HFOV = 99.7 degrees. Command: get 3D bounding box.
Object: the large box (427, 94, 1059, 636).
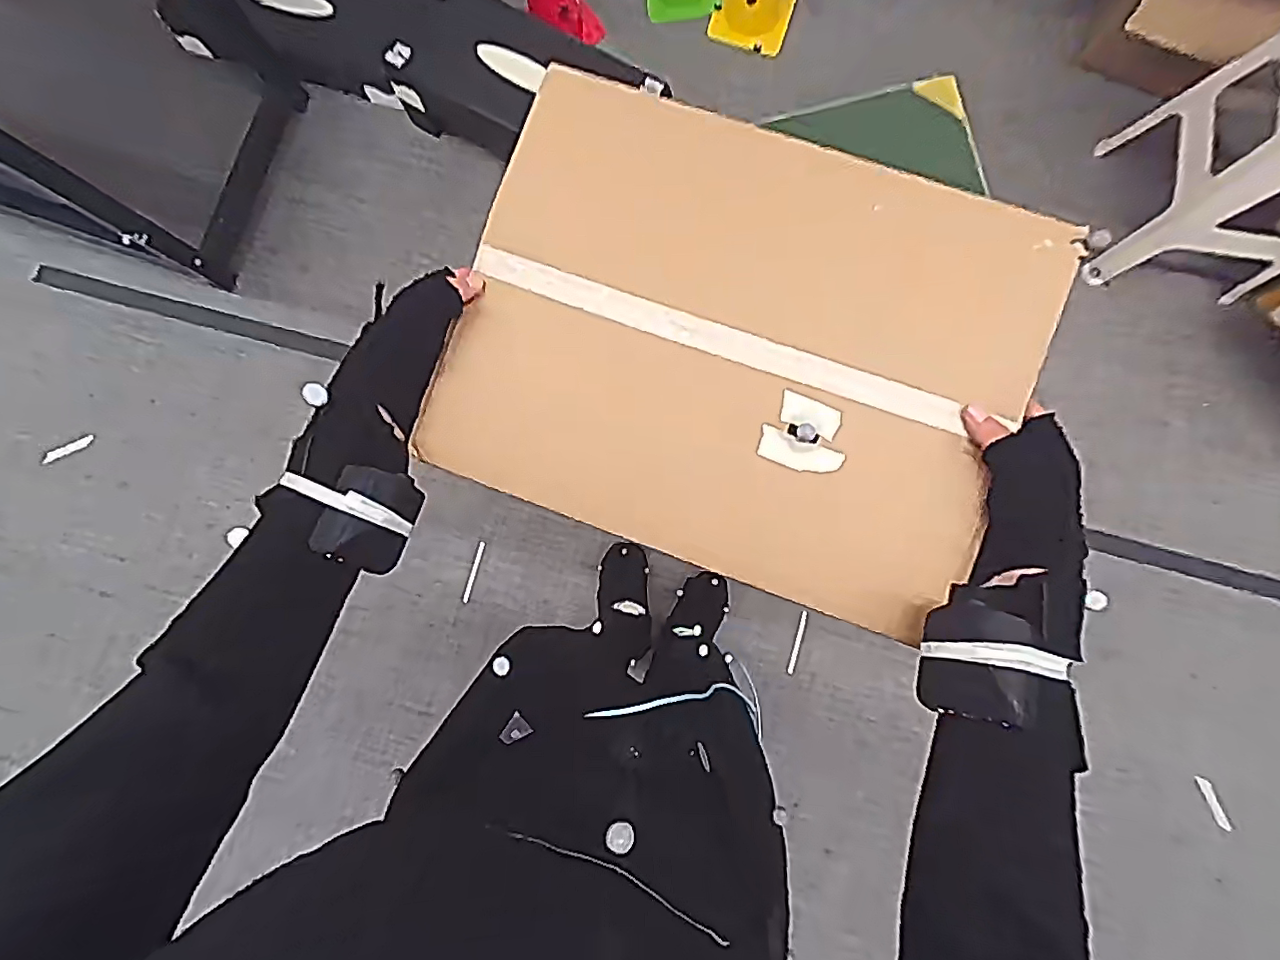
[{"bbox_3d":[0.077,-0.087,0.551,0.408,0.320,0.320,20,90,3],"label":"large box"}]
